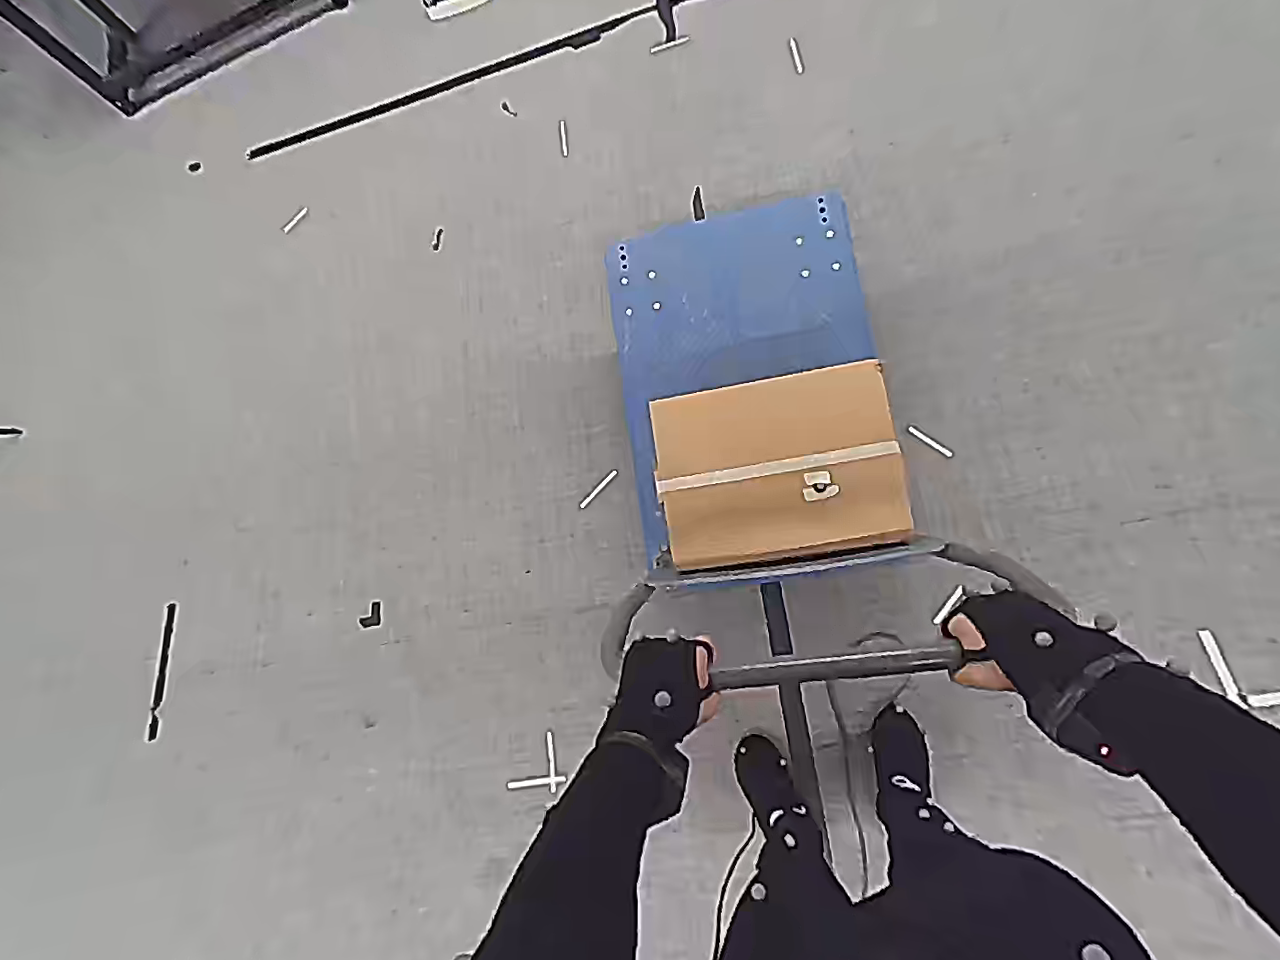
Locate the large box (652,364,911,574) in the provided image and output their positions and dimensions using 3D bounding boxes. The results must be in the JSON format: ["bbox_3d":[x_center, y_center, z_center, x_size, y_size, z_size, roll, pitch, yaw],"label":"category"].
[{"bbox_3d":[0.262,-0.002,1.098,0.408,0.320,0.320,-10,83,9],"label":"large box"}]
